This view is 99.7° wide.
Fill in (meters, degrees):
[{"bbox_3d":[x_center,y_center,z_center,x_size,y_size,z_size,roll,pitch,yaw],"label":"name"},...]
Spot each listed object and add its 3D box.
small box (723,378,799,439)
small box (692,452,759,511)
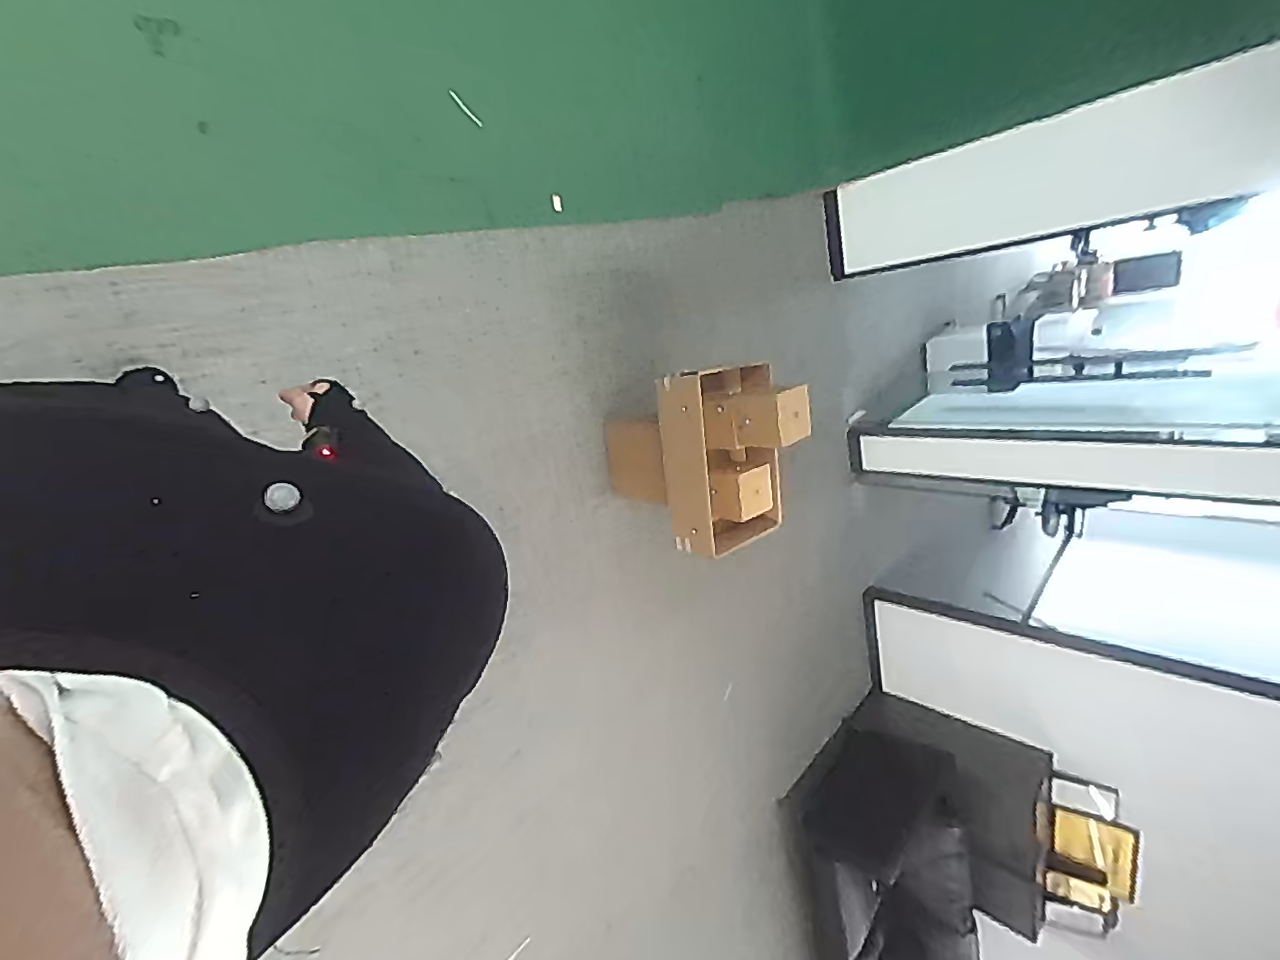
[{"bbox_3d":[0.391,-0.235,1.747,0.179,0.176,0.168,-23,112,-39],"label":"small box"},{"bbox_3d":[0.307,-0.001,1.935,0.179,0.176,0.168,-19,109,-39],"label":"small box"}]
